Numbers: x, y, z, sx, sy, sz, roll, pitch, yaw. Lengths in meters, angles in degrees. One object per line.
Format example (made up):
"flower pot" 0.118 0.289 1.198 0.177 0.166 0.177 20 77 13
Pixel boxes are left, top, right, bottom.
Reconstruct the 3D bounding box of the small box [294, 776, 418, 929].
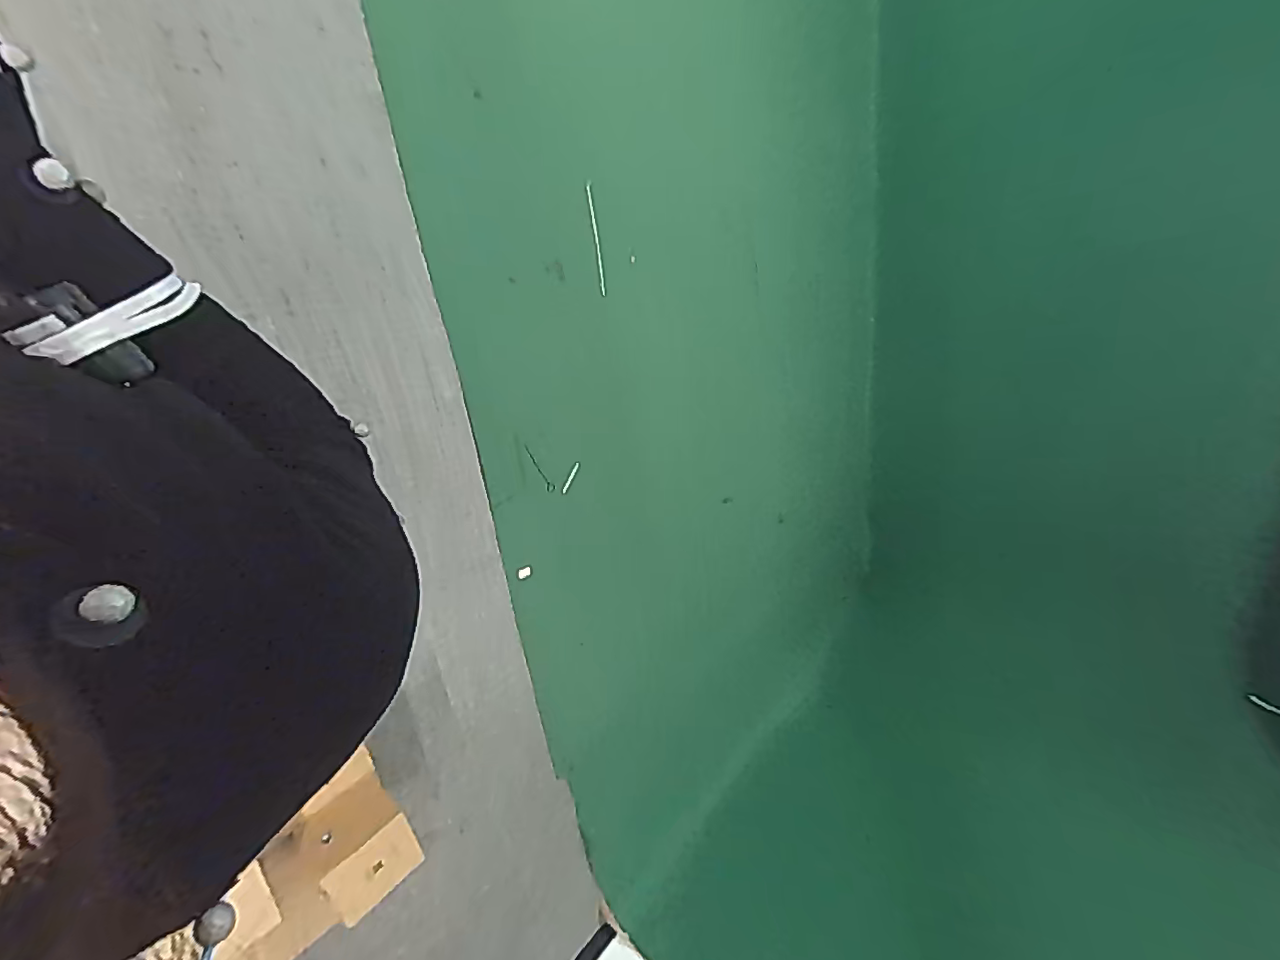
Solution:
"small box" -0.623 0.799 1.179 0.179 0.176 0.168 -30 122 -41

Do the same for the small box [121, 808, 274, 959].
"small box" -0.794 0.746 0.972 0.168 0.176 0.179 -22 115 -43
